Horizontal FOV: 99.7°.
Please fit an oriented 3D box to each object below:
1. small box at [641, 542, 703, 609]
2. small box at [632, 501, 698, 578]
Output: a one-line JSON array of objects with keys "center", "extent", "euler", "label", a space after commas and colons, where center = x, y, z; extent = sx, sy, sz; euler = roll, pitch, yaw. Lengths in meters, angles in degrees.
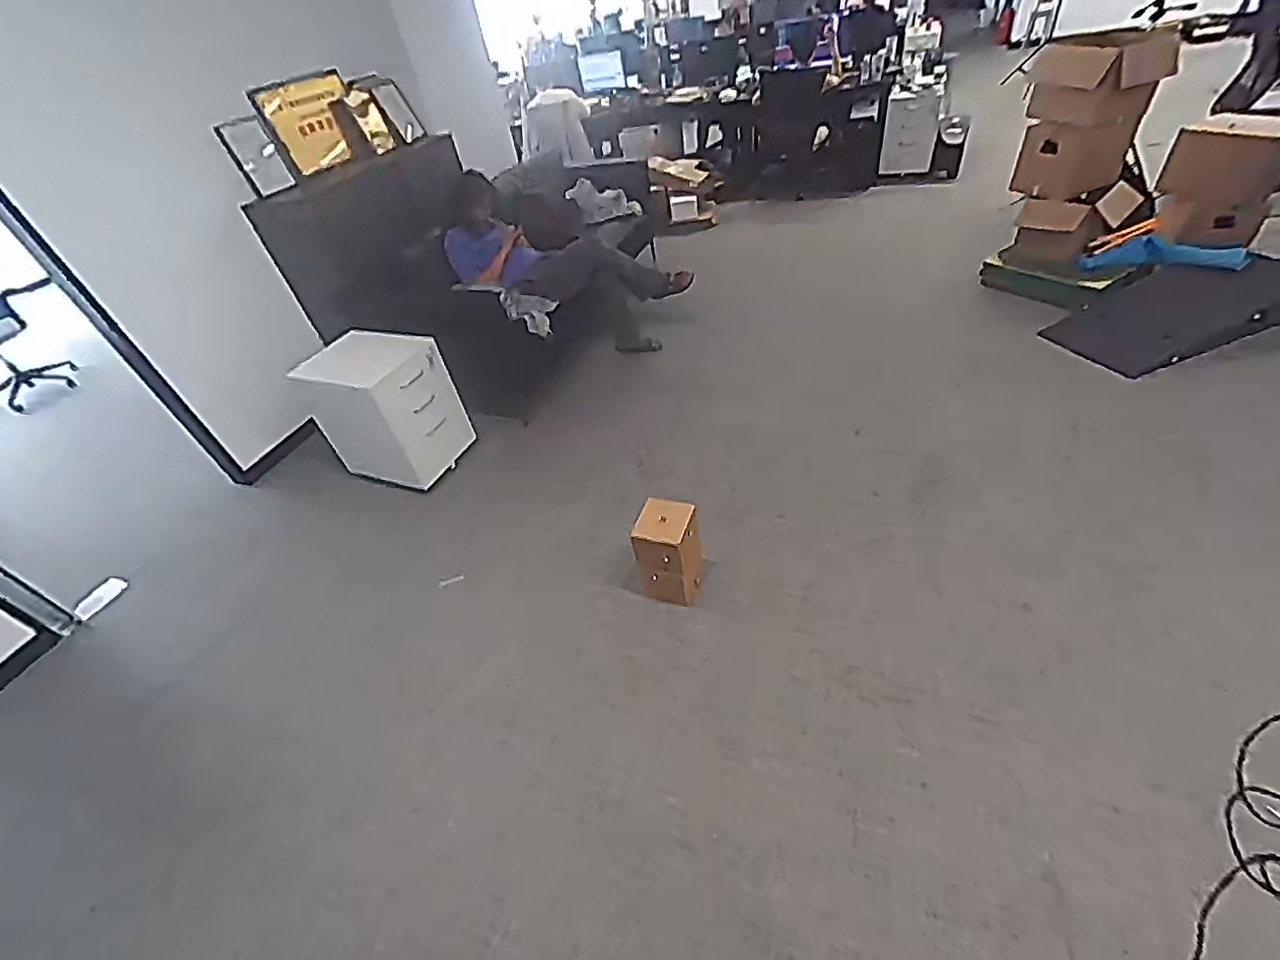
[{"center": [0.118, 0.318, 1.890], "extent": [0.168, 0.176, 0.179], "euler": [9, 44, 23], "label": "small box"}, {"center": [0.091, 0.197, 1.785], "extent": [0.168, 0.176, 0.179], "euler": [8, 43, 21], "label": "small box"}]
